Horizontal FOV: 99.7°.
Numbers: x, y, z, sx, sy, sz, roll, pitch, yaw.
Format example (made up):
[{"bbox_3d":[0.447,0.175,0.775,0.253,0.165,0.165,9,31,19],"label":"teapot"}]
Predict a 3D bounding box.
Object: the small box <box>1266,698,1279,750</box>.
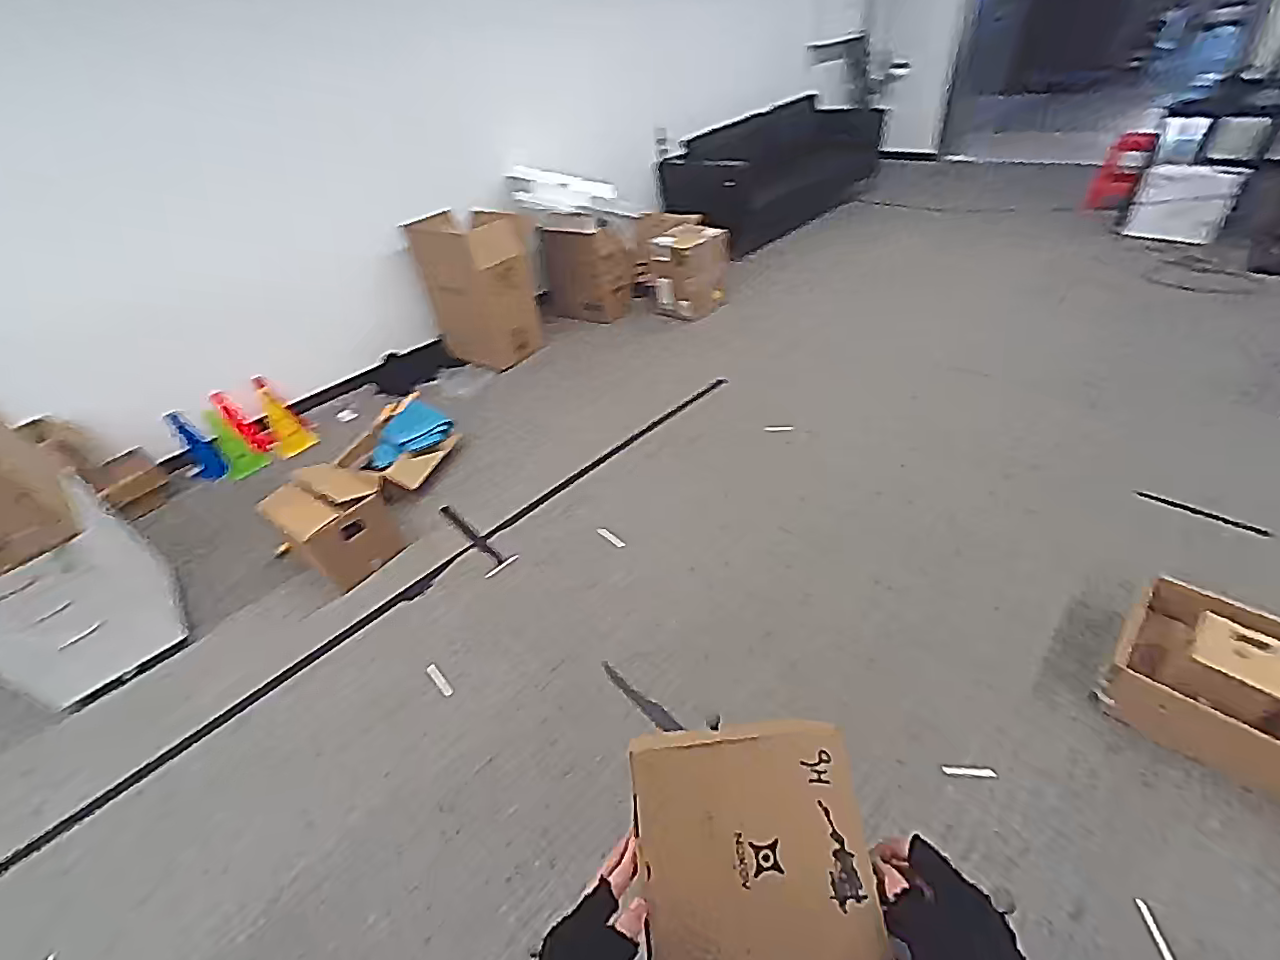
[{"bbox_3d":[1.609,0.563,1.234,0.168,0.176,0.179,-37,44,-29],"label":"small box"}]
